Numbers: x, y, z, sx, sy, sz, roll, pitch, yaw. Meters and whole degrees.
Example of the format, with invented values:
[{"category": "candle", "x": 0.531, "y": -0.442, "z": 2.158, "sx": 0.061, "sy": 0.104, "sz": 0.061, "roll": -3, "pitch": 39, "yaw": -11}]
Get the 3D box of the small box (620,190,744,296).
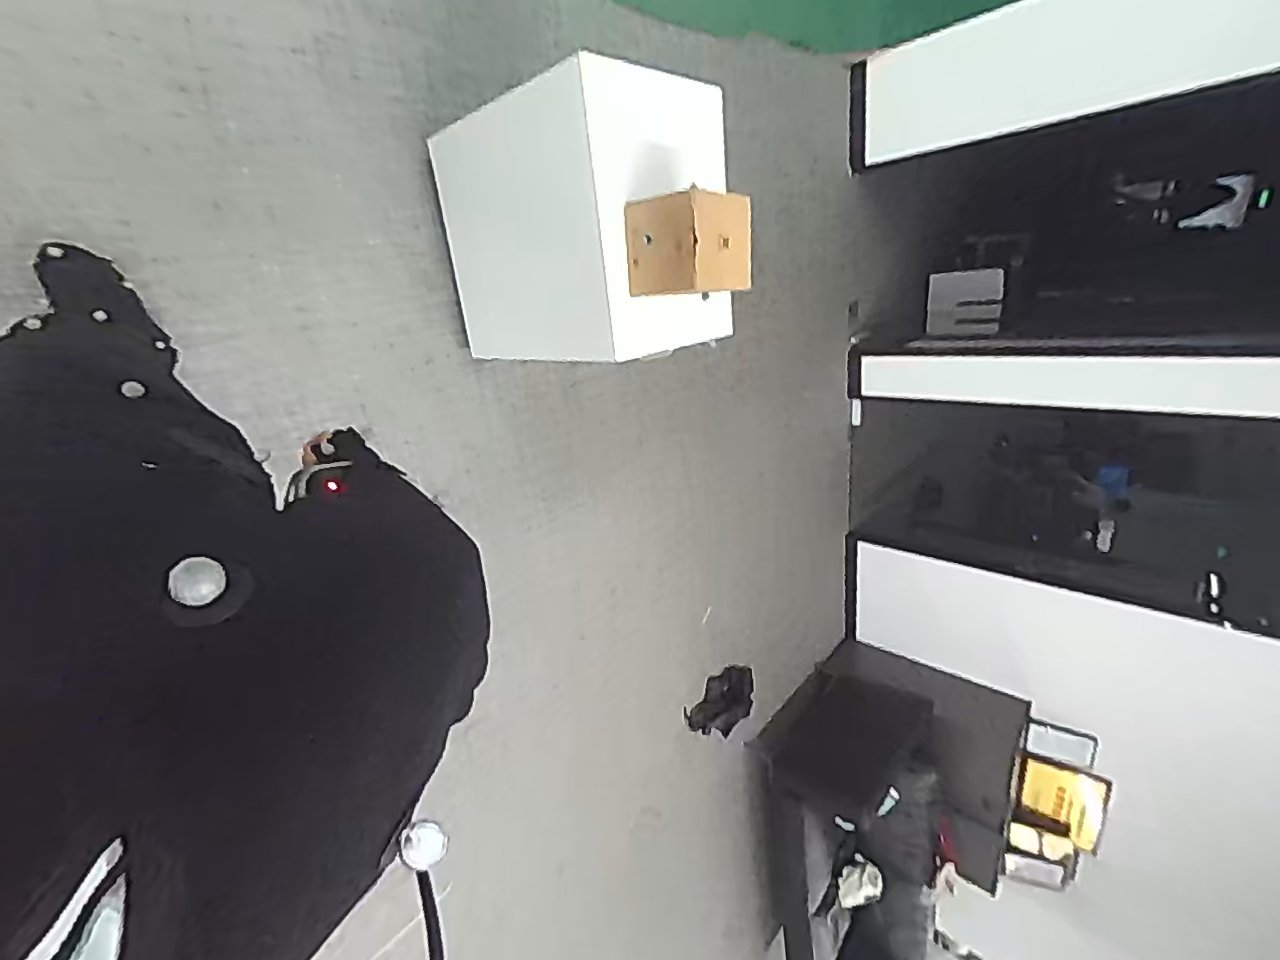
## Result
[{"category": "small box", "x": 0.082, "y": -0.447, "z": 1.043, "sx": 0.179, "sy": 0.176, "sz": 0.168, "roll": -21, "pitch": 115, "yaw": -43}]
